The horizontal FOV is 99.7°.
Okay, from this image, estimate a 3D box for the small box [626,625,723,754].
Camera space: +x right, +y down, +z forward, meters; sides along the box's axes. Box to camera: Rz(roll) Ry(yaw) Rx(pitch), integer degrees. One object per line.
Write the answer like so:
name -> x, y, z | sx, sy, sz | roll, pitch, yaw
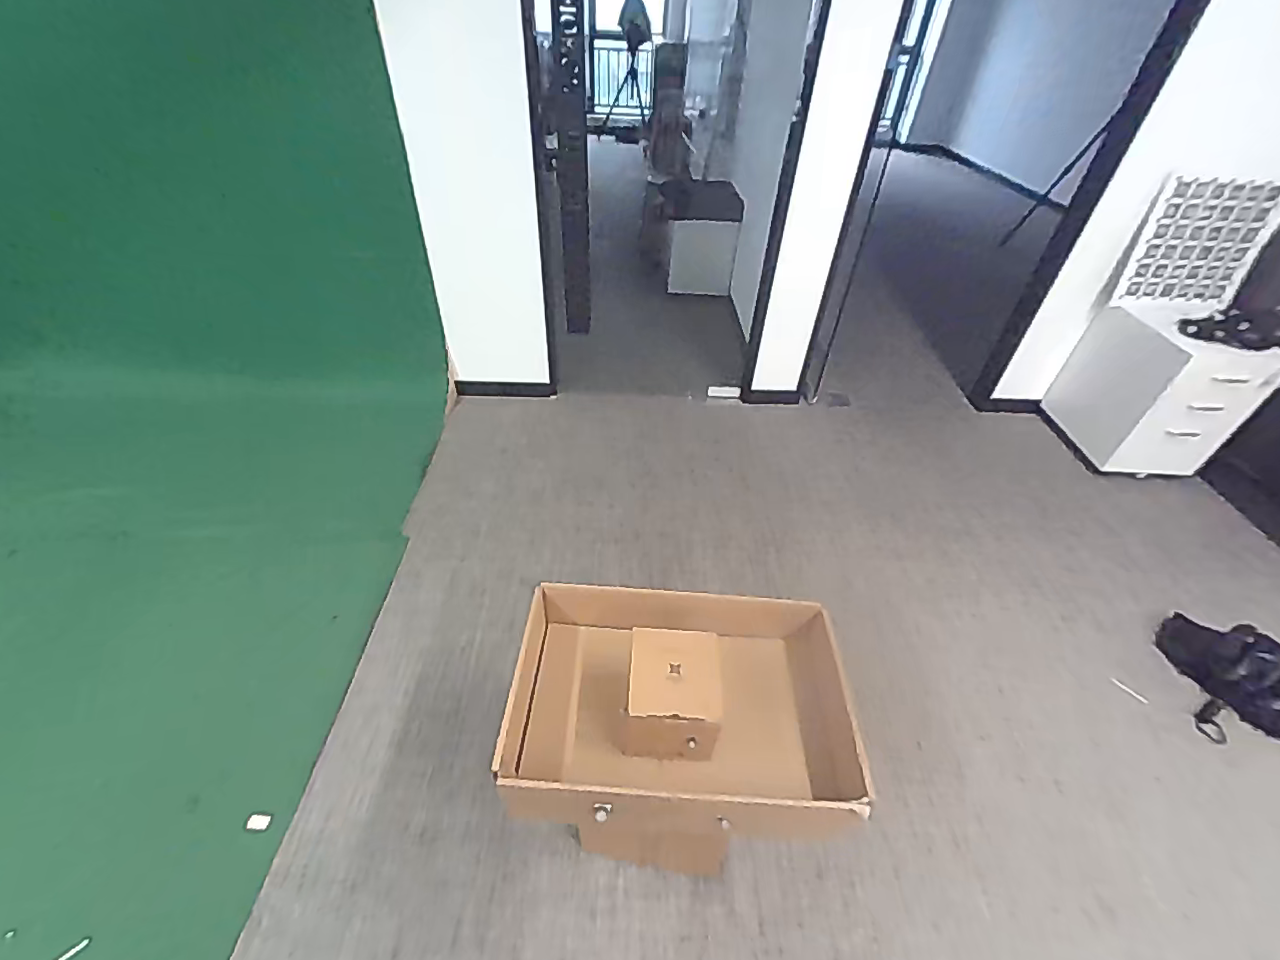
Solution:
small box -> 0.061, 0.404, 1.040 | 0.168, 0.176, 0.179 | 4, 39, -2
